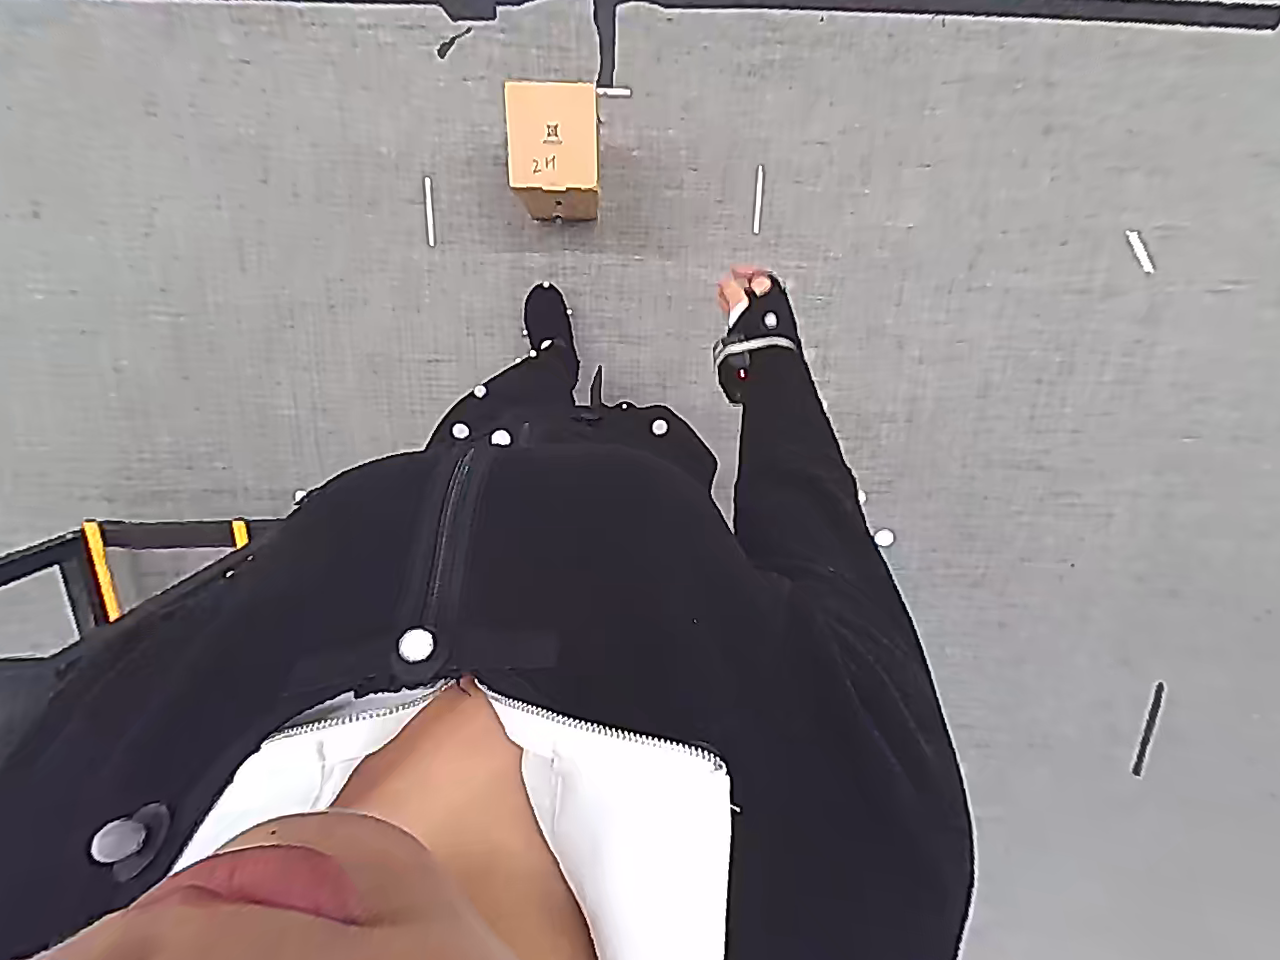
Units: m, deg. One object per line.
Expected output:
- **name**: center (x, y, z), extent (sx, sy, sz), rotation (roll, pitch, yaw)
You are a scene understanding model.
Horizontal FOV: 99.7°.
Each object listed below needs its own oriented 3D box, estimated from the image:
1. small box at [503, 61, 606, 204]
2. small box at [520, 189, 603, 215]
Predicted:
- **small box**: center (-0.147, -0.618, 0.981), extent (0.168, 0.176, 0.179), rotation (0, 105, -2)
- **small box**: center (-0.162, -0.670, 1.138), extent (0.168, 0.176, 0.179), rotation (-1, 107, -2)
